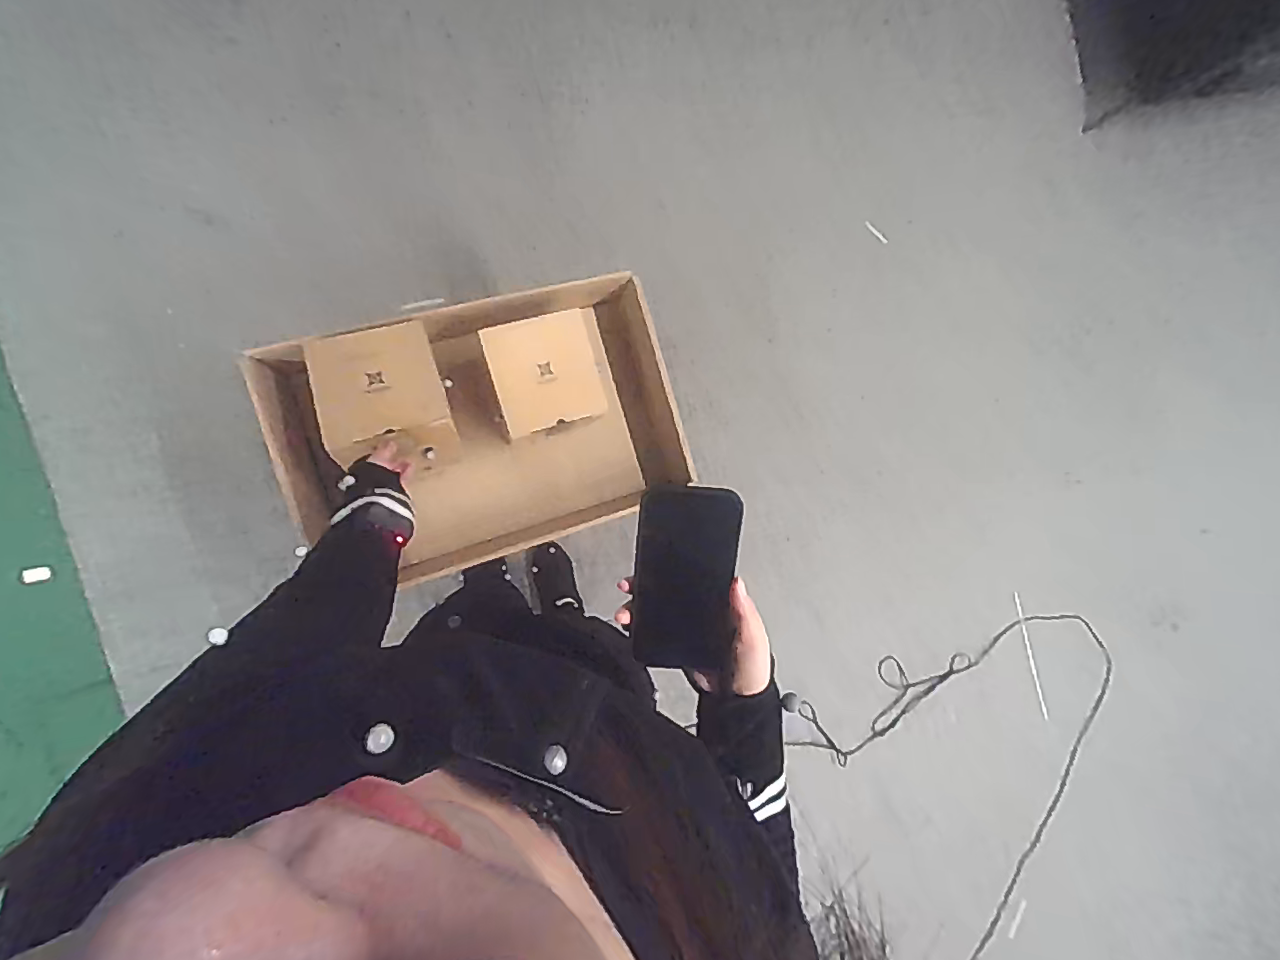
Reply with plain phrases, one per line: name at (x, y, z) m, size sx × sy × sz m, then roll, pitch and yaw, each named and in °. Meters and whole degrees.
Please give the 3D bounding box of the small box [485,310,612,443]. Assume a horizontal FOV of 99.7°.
small box at (-0.162, -0.168, 0.928) m, size 0.168 × 0.176 × 0.179 m, roll -17°, pitch 96°, yaw -13°
